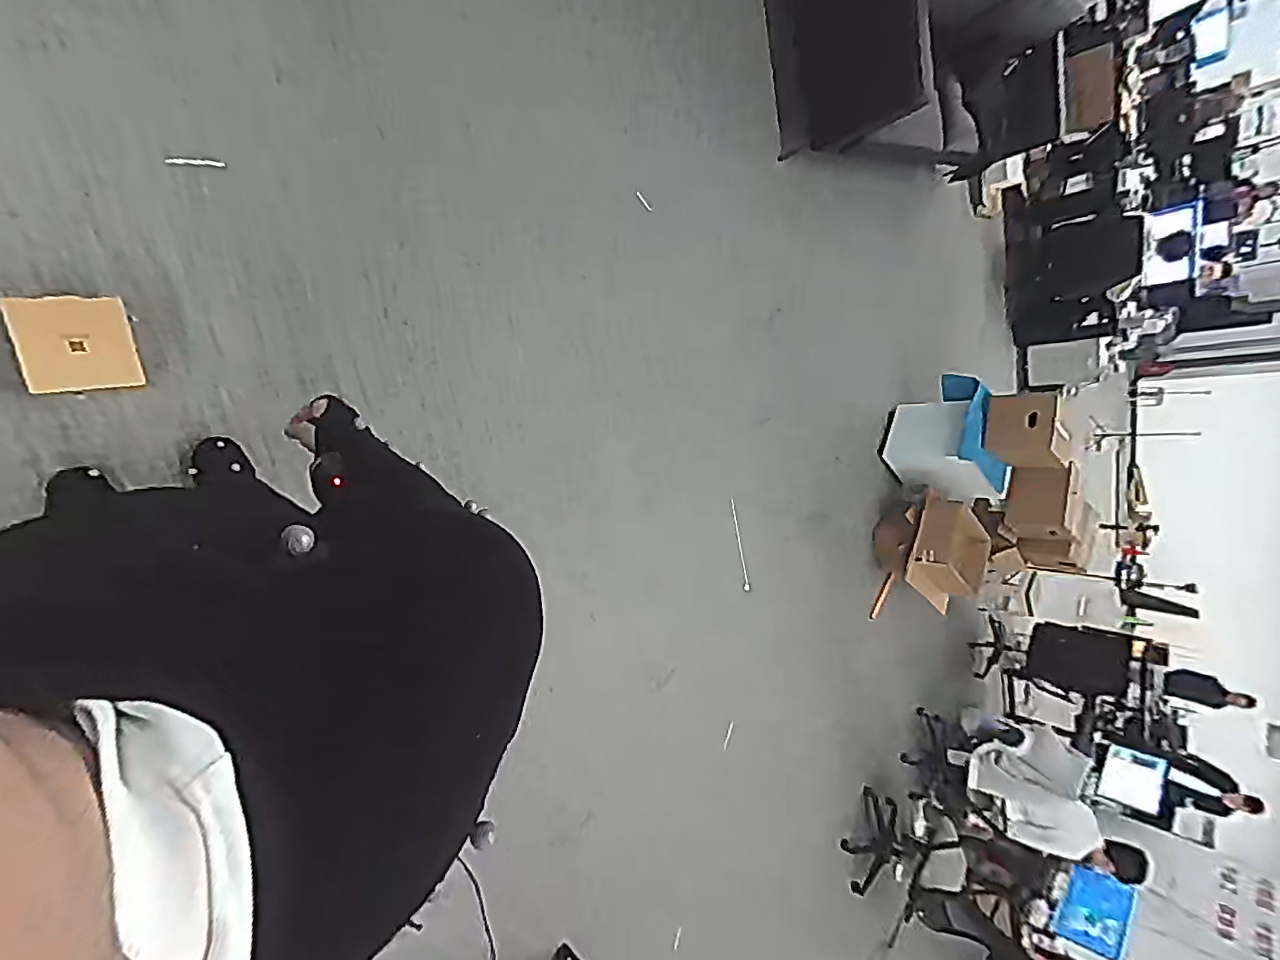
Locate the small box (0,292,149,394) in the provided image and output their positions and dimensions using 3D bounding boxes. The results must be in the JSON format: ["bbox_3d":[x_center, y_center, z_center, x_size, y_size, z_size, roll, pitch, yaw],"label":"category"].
[{"bbox_3d":[-1.121,-0.270,1.089,0.168,0.176,0.179,-17,102,-39],"label":"small box"}]
